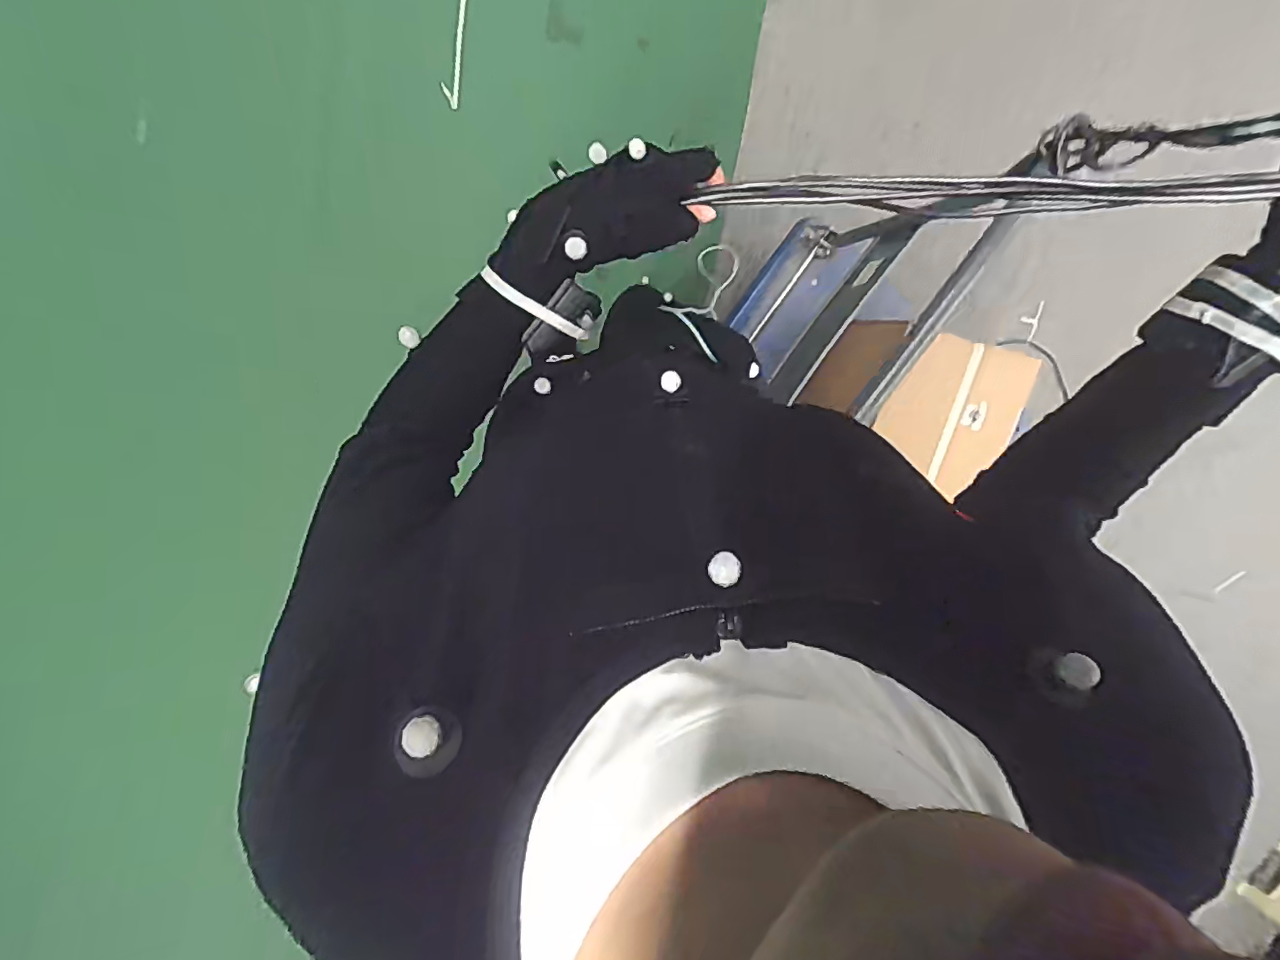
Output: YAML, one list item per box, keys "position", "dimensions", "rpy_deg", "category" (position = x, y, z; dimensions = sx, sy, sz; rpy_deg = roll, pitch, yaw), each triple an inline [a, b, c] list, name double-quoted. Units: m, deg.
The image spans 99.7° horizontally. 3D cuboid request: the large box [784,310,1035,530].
- position: [0.574, -0.142, 1.230]
  dimensions: [0.320, 0.320, 0.408]
  rpy_deg: [12, 104, -13]
  category: "large box"
